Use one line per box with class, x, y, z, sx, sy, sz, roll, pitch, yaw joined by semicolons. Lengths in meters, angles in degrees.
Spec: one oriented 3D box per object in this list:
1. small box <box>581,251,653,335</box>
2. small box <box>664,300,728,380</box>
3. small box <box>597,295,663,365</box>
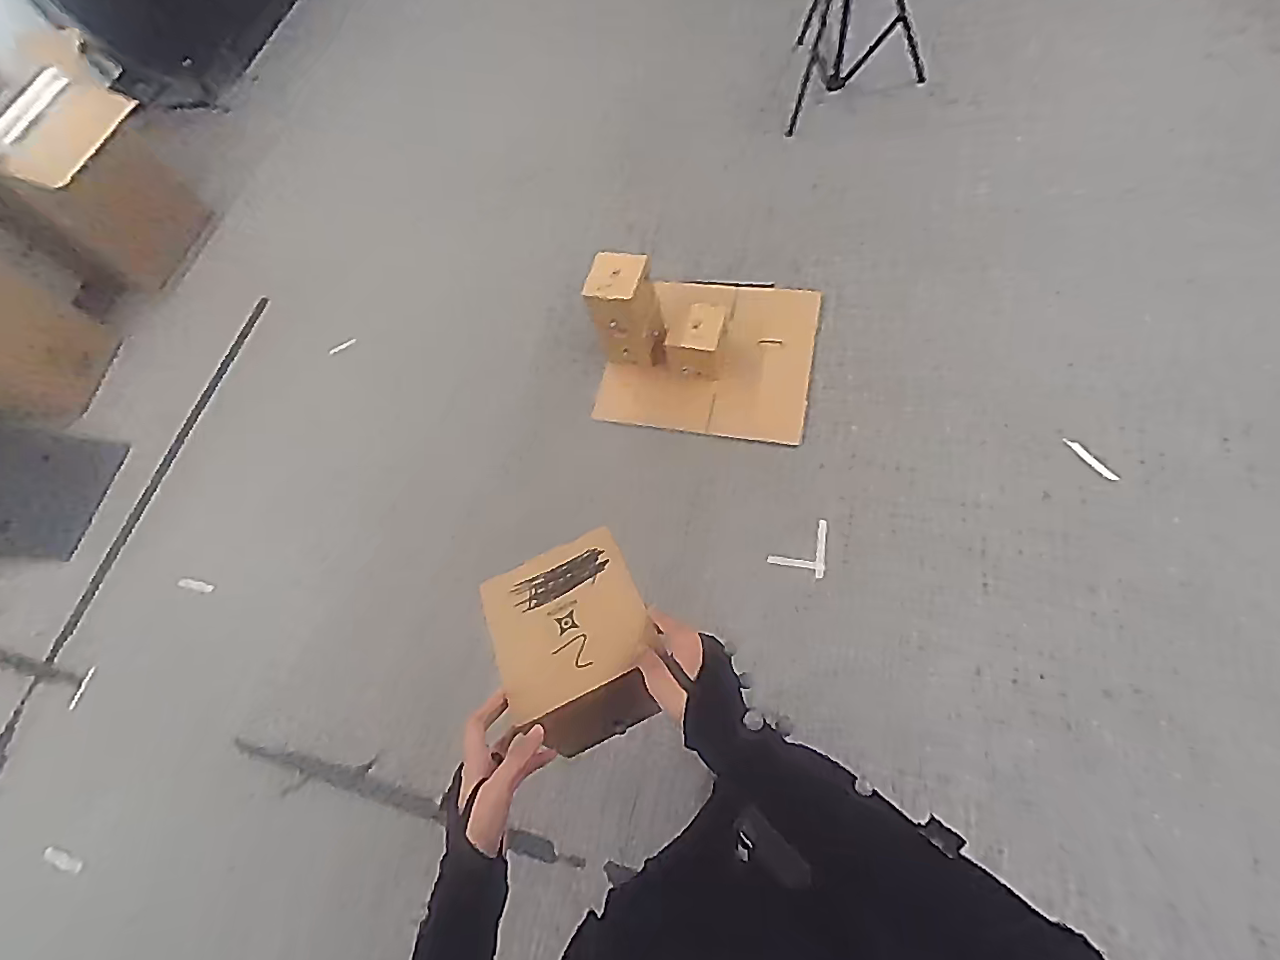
small box;-0.063;-0.586;1.698;0.168;0.176;0.179;11;70;17
small box;0.188;-0.458;1.777;0.168;0.176;0.179;12;70;16
small box;-0.026;-0.513;1.842;0.168;0.176;0.179;11;70;16
